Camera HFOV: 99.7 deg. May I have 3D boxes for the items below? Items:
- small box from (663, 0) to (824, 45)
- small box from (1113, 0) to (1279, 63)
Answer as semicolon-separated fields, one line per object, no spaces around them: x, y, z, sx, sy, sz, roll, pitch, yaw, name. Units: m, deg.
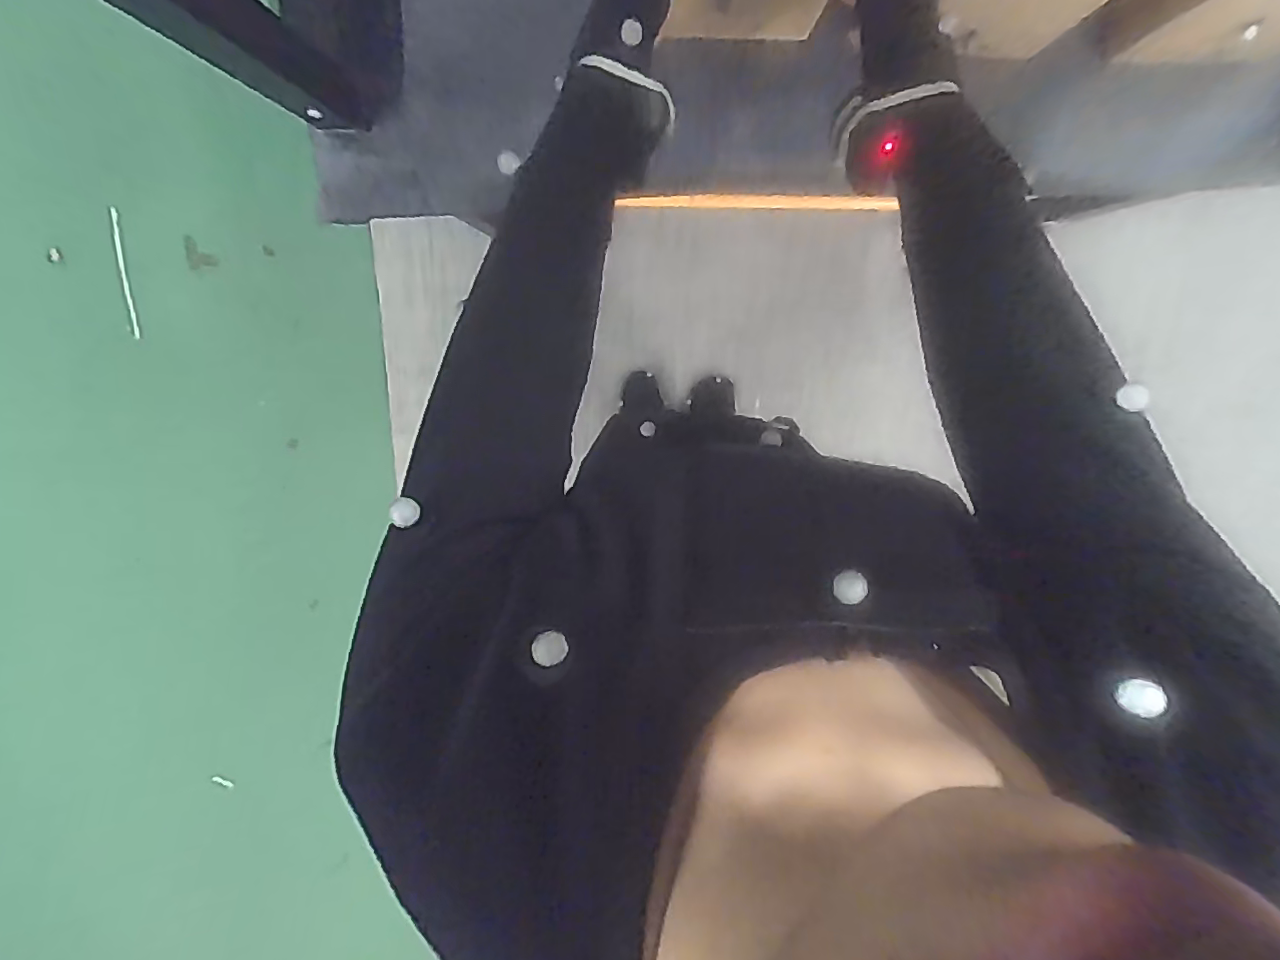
0.107;-0.553;0.514;0.168;0.176;0.179;2;105;1;small box
0.599;-0.524;0.503;0.168;0.176;0.179;1;104;2;small box
